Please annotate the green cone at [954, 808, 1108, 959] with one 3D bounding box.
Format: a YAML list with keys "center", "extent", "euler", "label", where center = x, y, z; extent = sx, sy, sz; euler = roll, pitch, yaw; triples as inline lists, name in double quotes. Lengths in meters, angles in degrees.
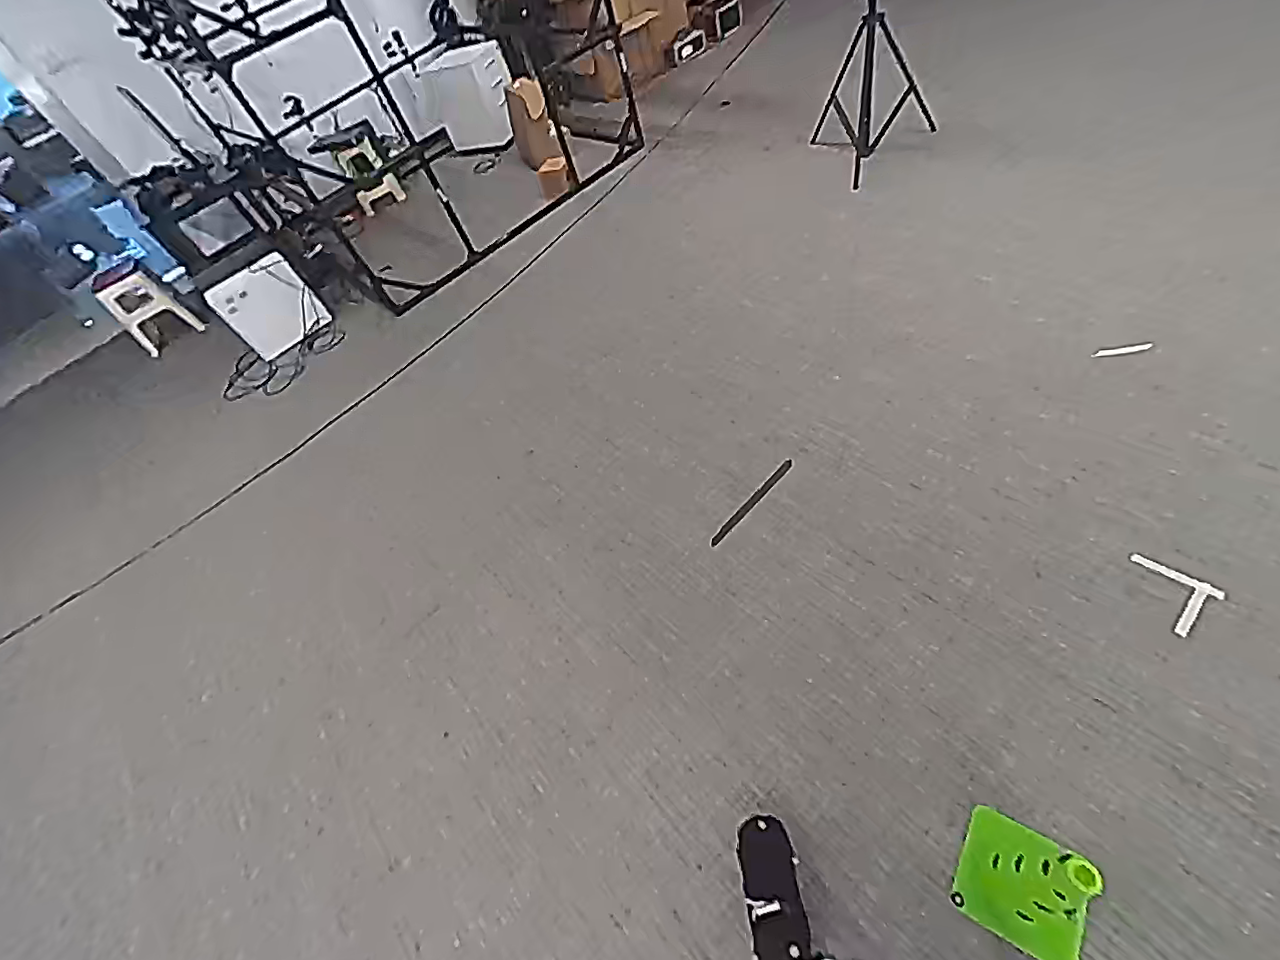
- center: [0.680, 0.660, 0.890]
  extent: [0.200, 0.368, 0.202]
  euler: [19, 60, 30]
  label: "green cone"
